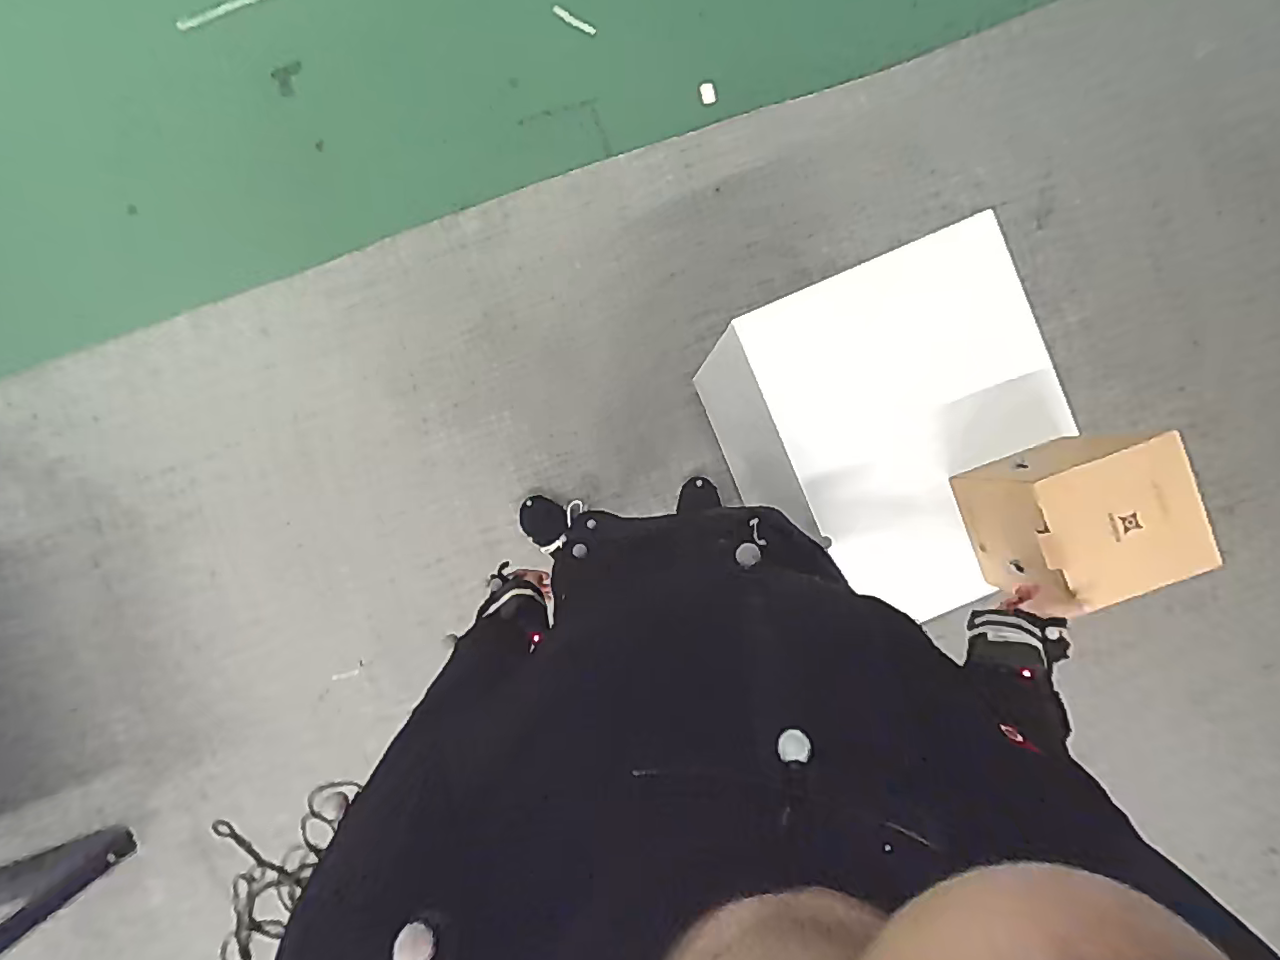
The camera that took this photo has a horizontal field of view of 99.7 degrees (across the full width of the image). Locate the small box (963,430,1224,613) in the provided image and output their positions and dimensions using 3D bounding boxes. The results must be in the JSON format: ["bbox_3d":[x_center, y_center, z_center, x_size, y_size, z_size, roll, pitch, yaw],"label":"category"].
[{"bbox_3d":[0.549,0.045,0.686,0.179,0.176,0.168,-21,92,1],"label":"small box"}]
